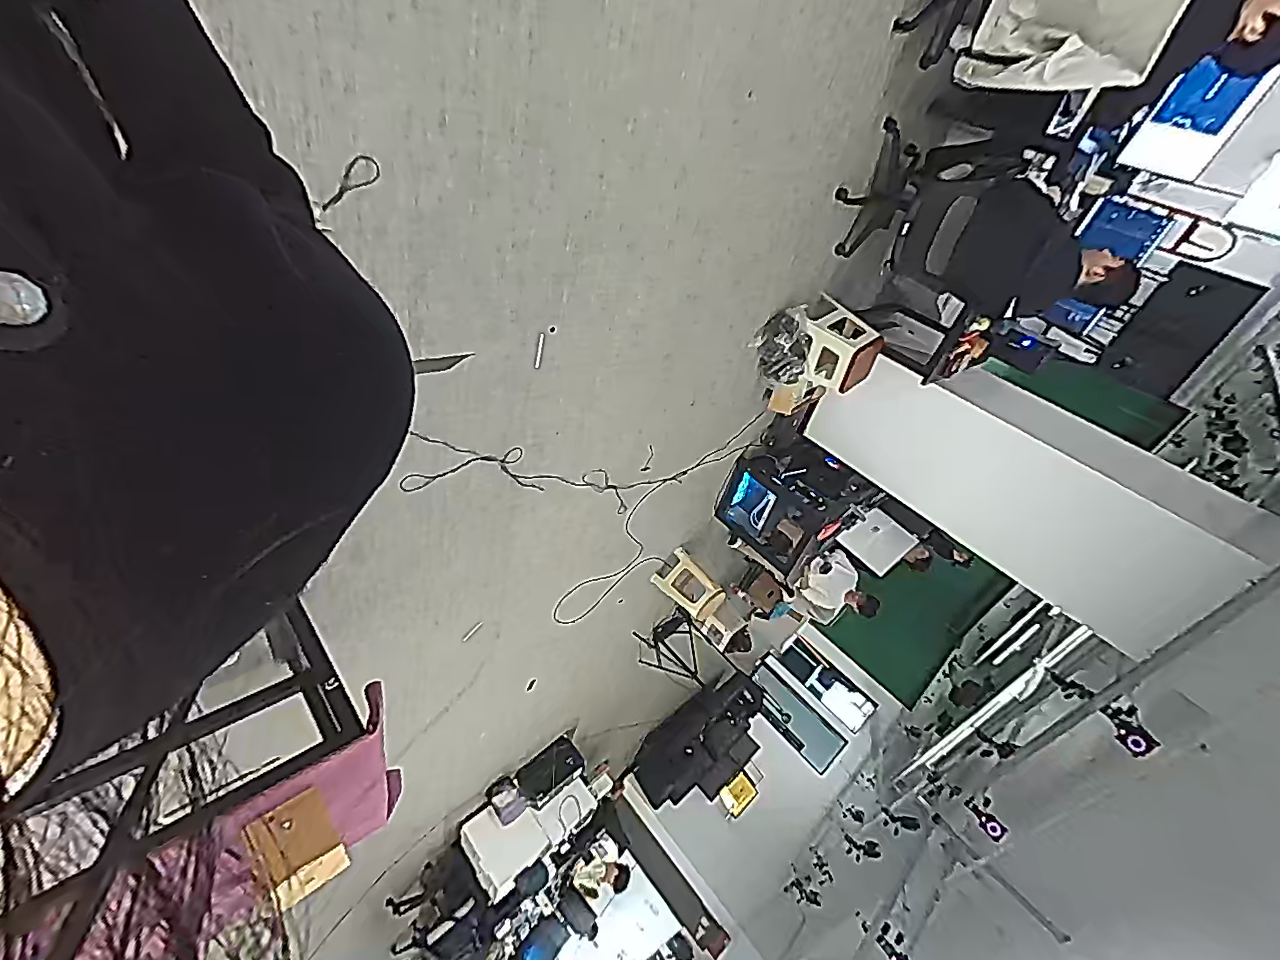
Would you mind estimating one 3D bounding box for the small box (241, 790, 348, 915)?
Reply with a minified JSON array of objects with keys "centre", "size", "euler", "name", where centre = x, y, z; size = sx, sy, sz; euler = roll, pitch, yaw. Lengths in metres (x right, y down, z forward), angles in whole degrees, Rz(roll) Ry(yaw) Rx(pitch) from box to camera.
[{"centre":[-0.840,0.902,1.321],"size":[0.168,0.176,0.179],"euler":[-24,143,-39],"name":"small box"}]
